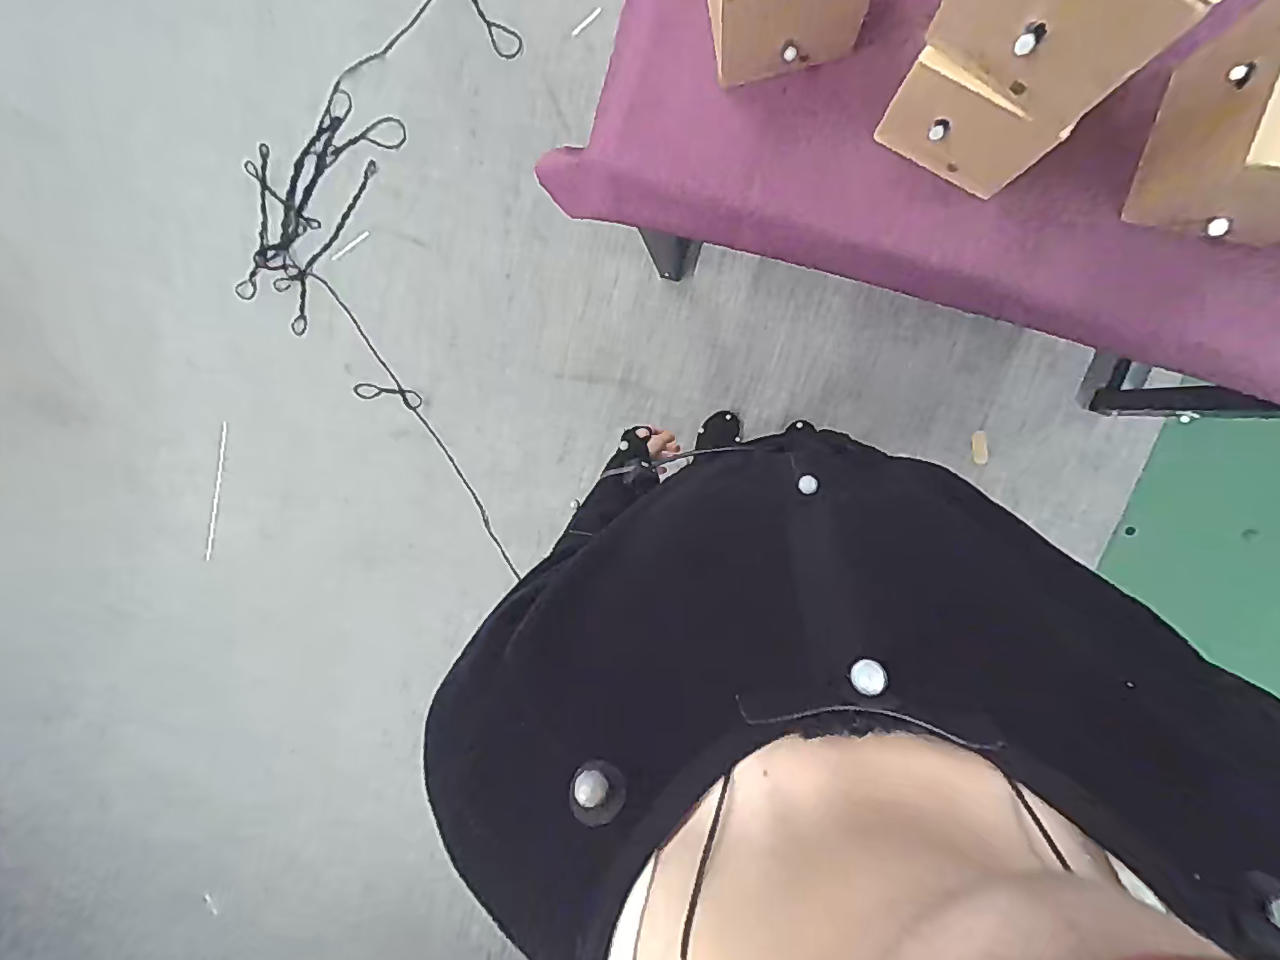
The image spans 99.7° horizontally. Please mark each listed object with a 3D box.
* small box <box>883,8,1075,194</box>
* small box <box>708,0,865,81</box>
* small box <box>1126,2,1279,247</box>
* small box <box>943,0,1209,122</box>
[{"bbox_3d":[0.394,-0.455,0.592,0.168,0.176,0.179,32,100,3],"label":"small box"},{"bbox_3d":[0.157,-0.599,0.601,0.168,0.176,0.179,-8,97,9],"label":"small box"},{"bbox_3d":[0.671,-0.369,0.562,0.168,0.176,0.179,15,100,6],"label":"small box"},{"bbox_3d":[0.379,-0.440,0.429,0.168,0.176,0.179,39,101,2],"label":"small box"}]
